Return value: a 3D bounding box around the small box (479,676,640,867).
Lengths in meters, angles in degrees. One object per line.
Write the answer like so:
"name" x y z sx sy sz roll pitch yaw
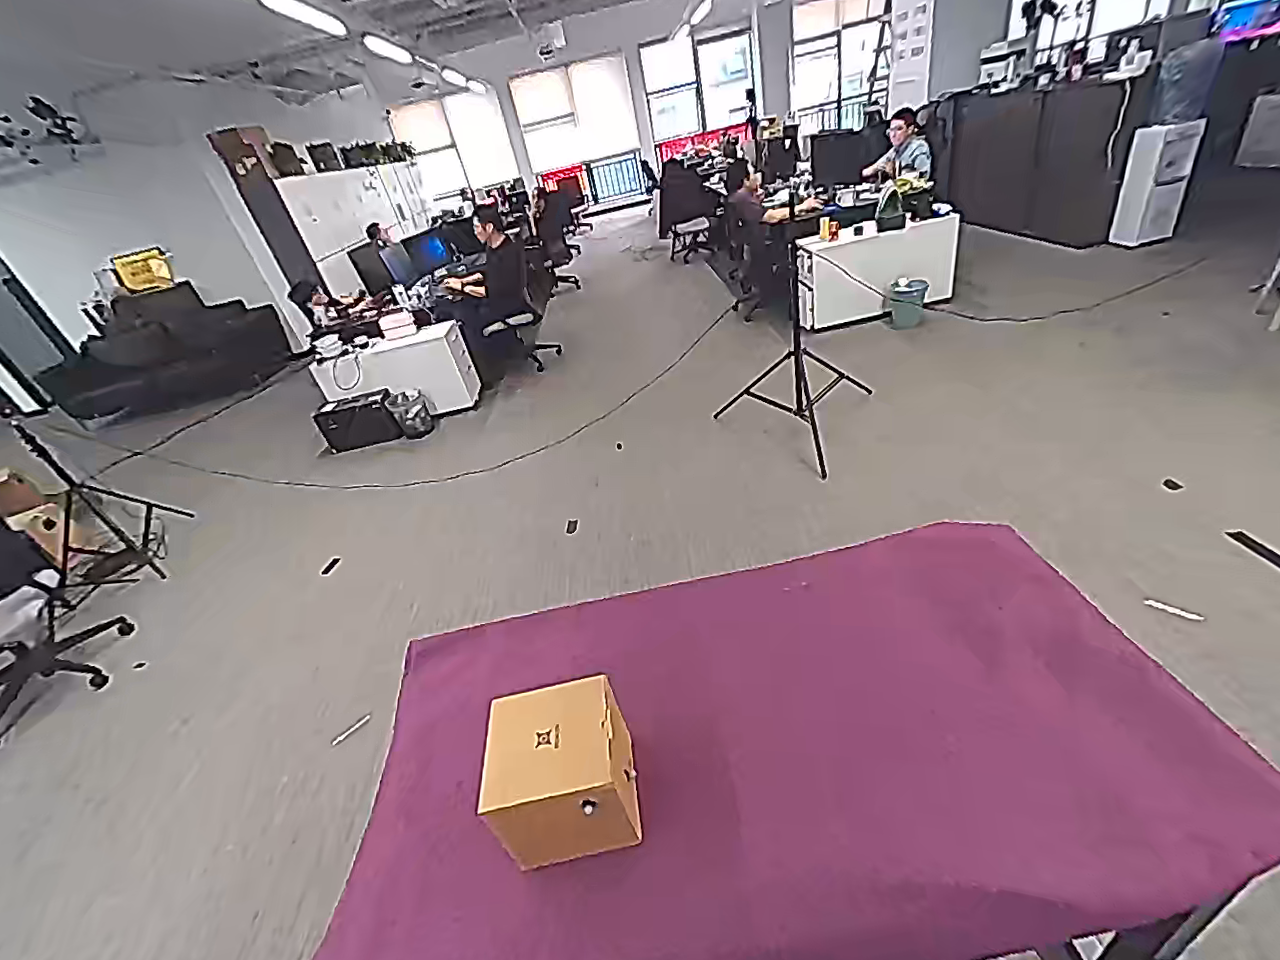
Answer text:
"small box" -0.108 0.418 0.777 0.179 0.176 0.168 -13 32 0
